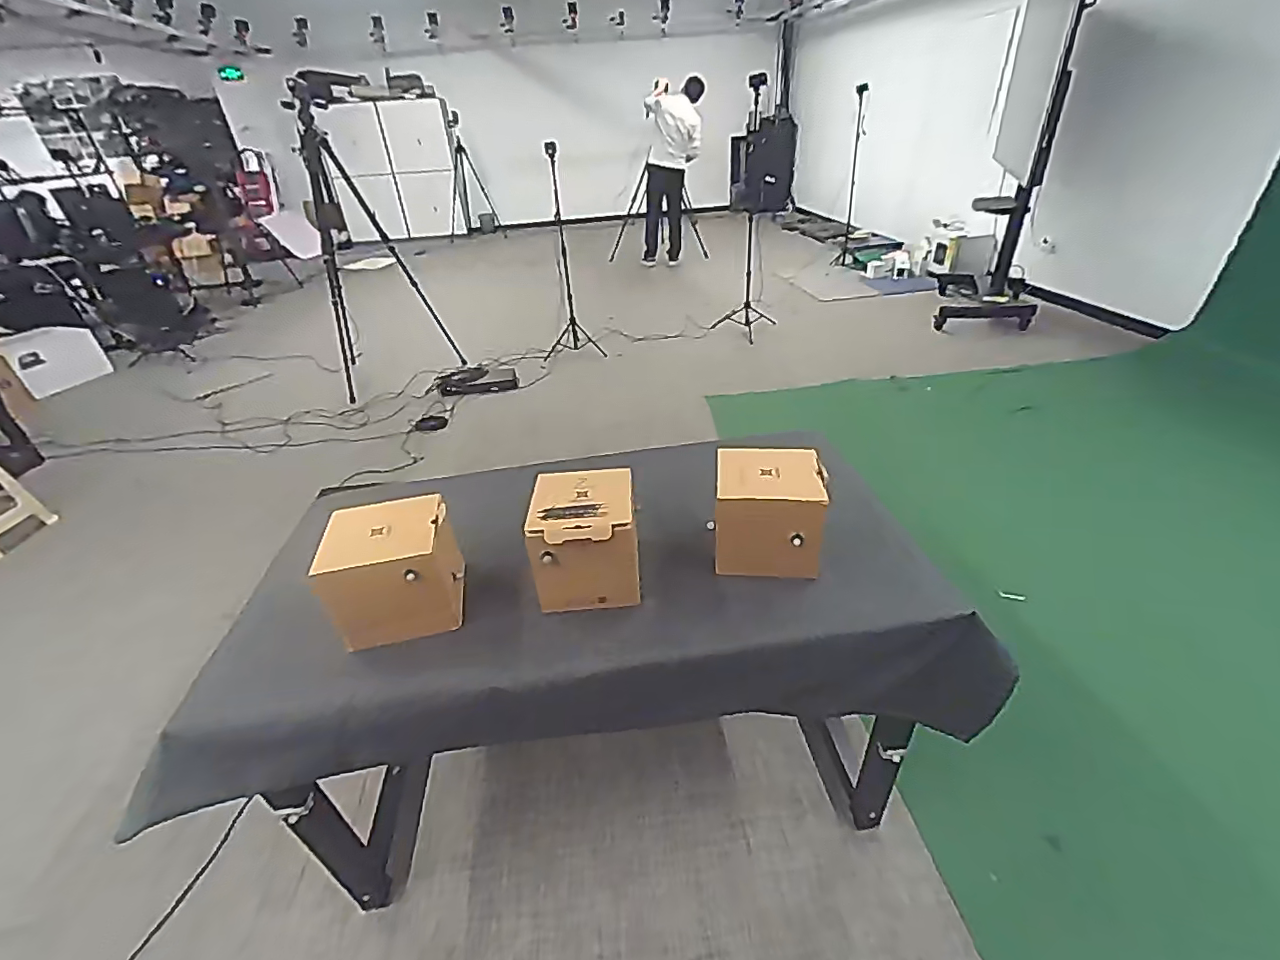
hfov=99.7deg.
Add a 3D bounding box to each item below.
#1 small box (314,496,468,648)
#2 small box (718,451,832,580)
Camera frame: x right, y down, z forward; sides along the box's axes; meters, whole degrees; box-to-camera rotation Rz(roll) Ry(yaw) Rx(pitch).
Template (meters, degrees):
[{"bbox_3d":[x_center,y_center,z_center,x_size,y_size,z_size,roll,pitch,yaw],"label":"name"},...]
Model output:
[{"bbox_3d":[-0.395,0.151,0.891,0.179,0.176,0.168,-10,33,-10],"label":"small box"},{"bbox_3d":[0.229,0.063,0.959,0.179,0.176,0.168,0,32,9],"label":"small box"}]
